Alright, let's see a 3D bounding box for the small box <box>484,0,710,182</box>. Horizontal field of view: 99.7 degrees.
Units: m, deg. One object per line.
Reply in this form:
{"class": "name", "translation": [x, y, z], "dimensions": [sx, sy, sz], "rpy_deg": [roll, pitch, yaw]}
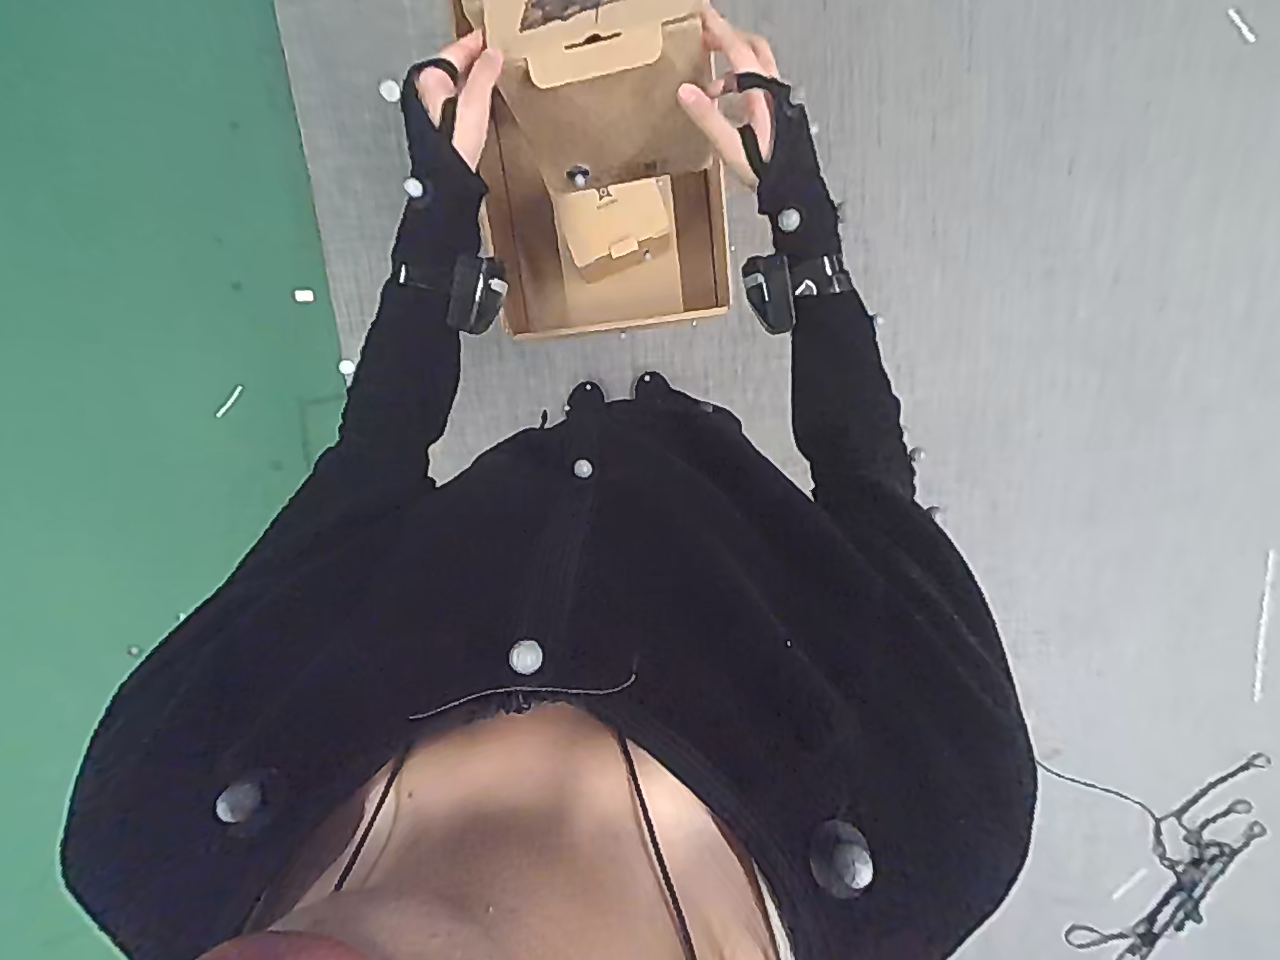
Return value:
{"class": "small box", "translation": [-0.027, -0.395, 0.482], "dimensions": [0.168, 0.176, 0.179], "rpy_deg": [-5, 86, 9]}

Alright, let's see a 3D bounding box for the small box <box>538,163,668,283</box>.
{"class": "small box", "translation": [-0.054, -0.455, 0.932], "dimensions": [0.168, 0.176, 0.179], "rpy_deg": [-19, 99, 4]}
